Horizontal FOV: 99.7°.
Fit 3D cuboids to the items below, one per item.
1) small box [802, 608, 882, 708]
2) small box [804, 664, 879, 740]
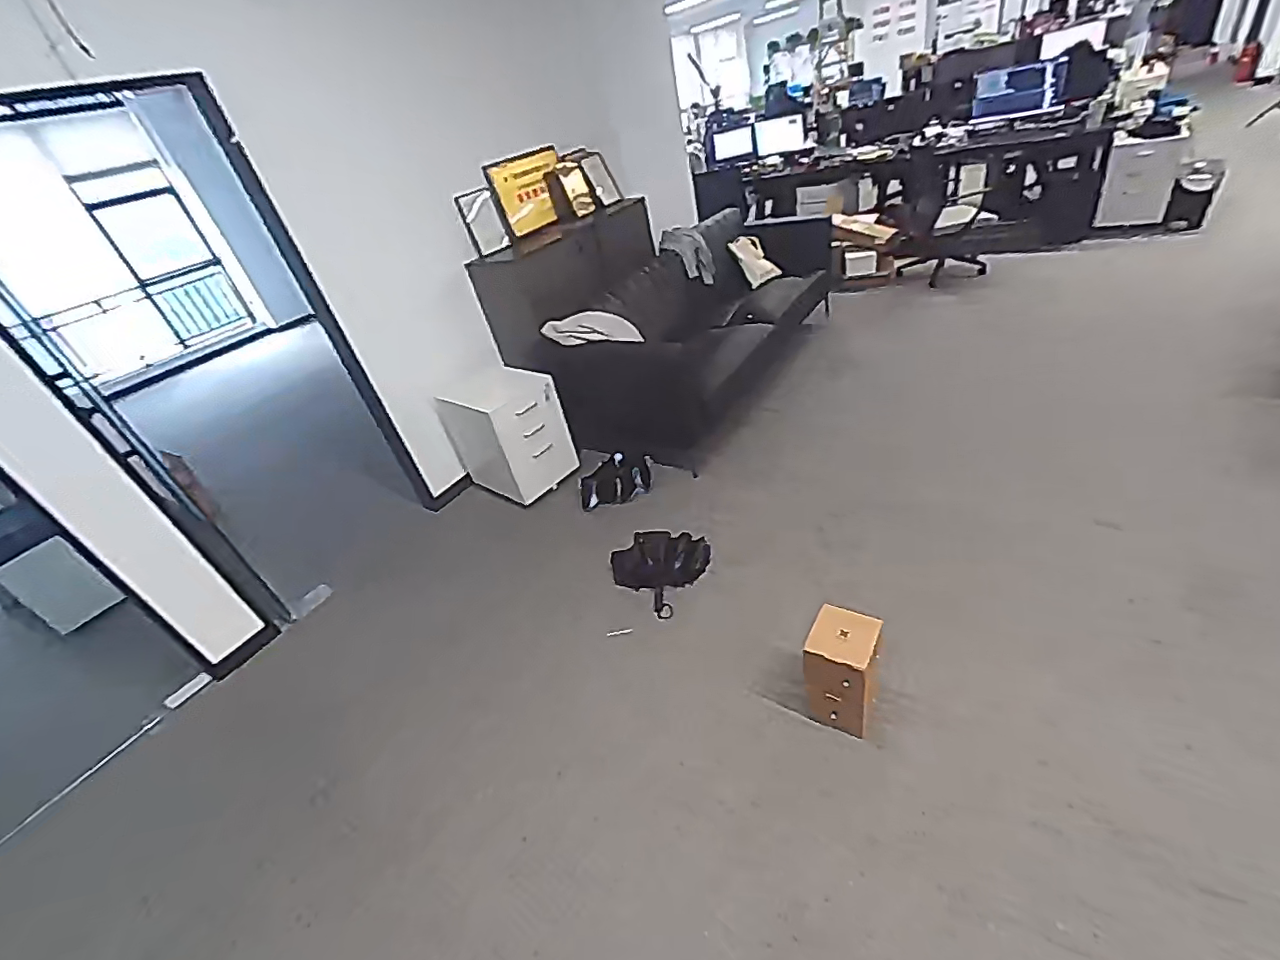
[{"bbox_3d":[0.563,0.493,1.499,0.168,0.176,0.179,12,40,33],"label":"small box"},{"bbox_3d":[0.596,0.625,1.589,0.168,0.176,0.179,11,41,33],"label":"small box"}]
